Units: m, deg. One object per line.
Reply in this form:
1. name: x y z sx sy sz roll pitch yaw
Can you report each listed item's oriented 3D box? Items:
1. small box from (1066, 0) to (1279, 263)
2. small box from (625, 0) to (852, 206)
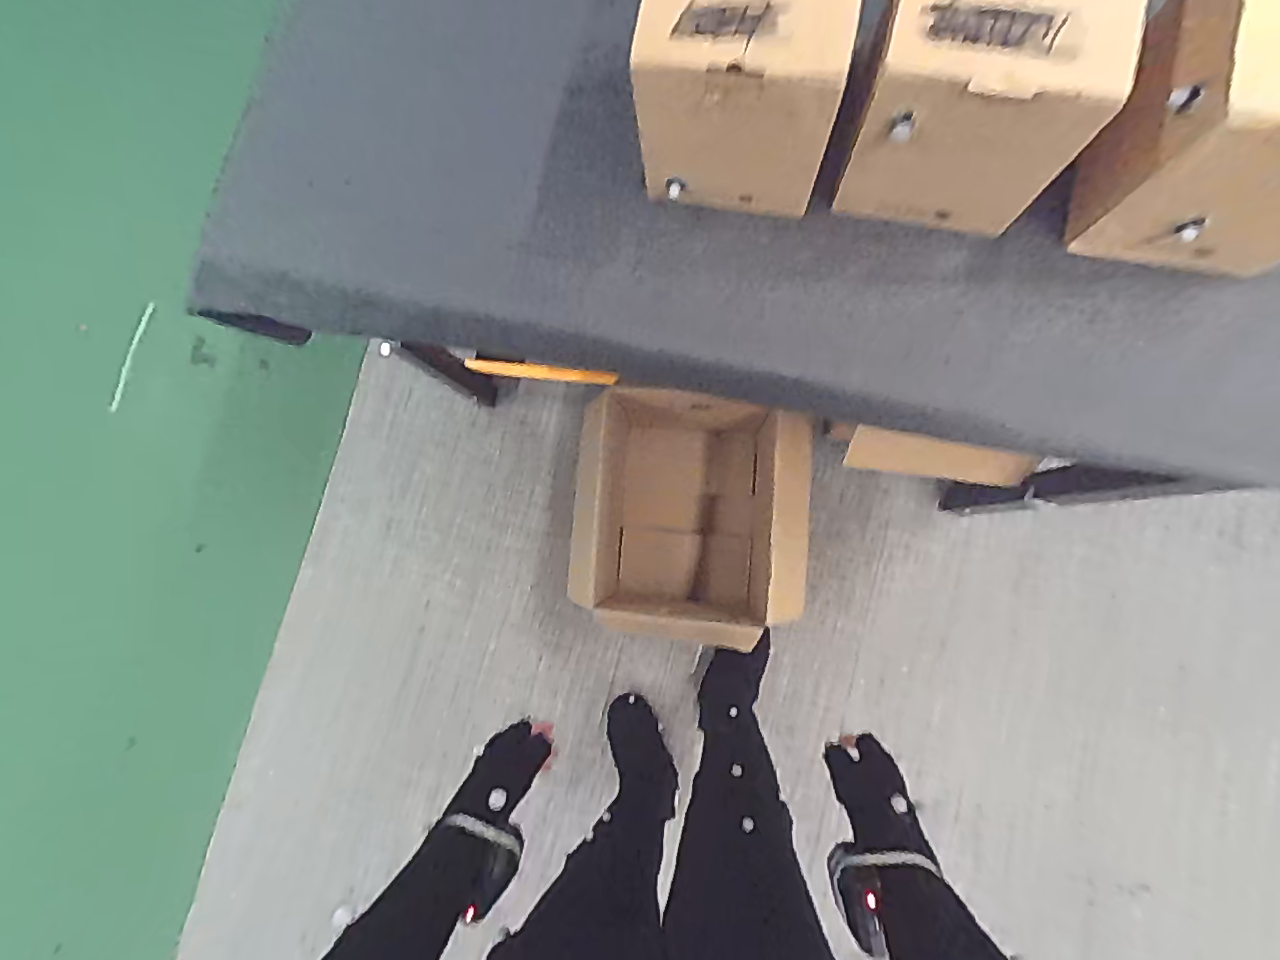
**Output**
1. small box: 0.495 -0.310 0.441 0.168 0.176 0.179 11 86 7
2. small box: 0.092 -0.382 0.490 0.168 0.176 0.179 10 85 6
